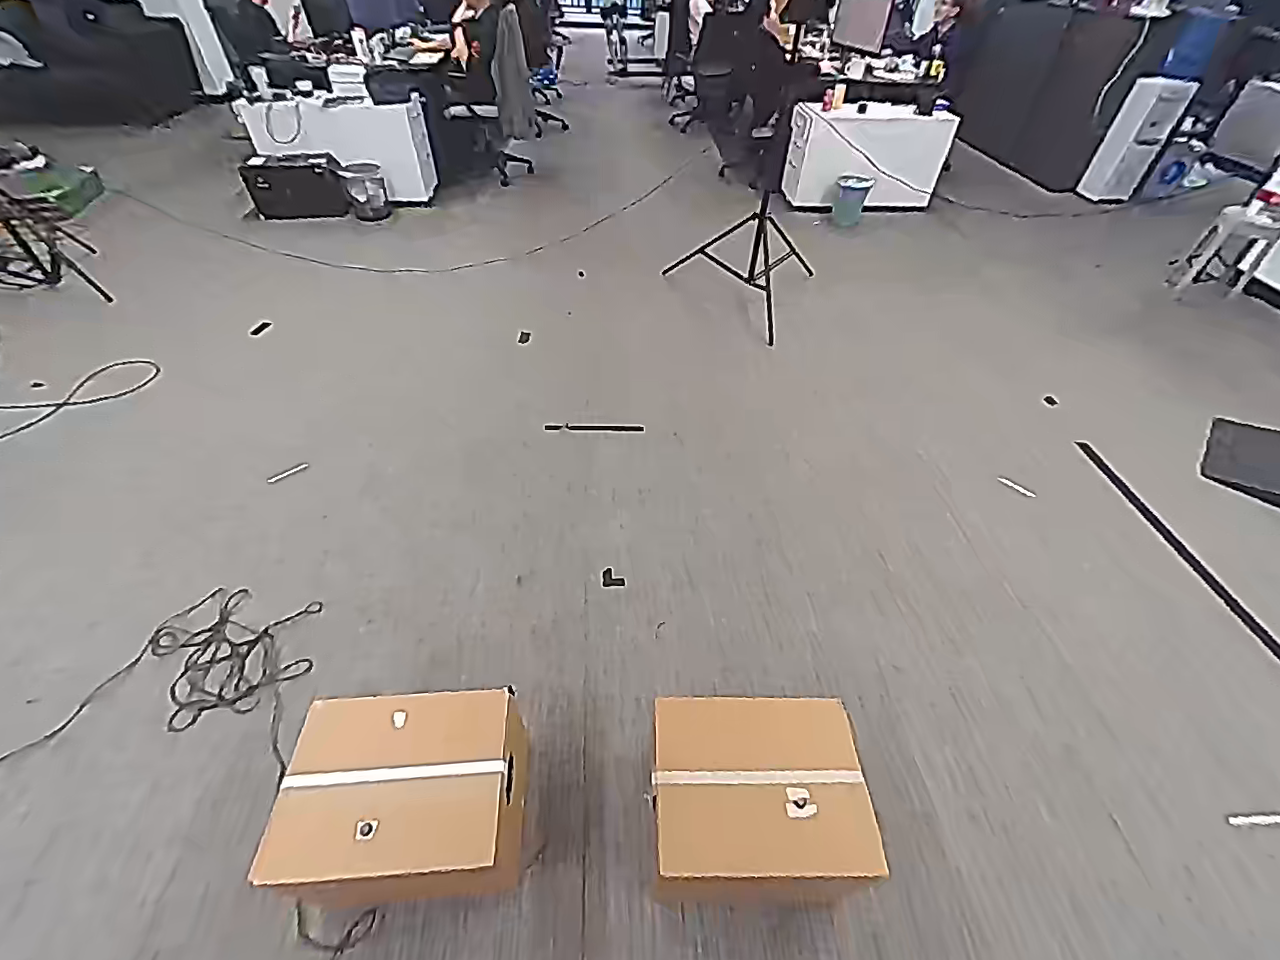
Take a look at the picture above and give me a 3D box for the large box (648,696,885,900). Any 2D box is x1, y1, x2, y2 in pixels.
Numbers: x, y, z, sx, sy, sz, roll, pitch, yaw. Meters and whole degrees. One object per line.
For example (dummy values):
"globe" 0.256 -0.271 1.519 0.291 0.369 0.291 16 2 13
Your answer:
"large box" 0.228 0.679 1.157 0.408 0.320 0.320 1 46 -2
